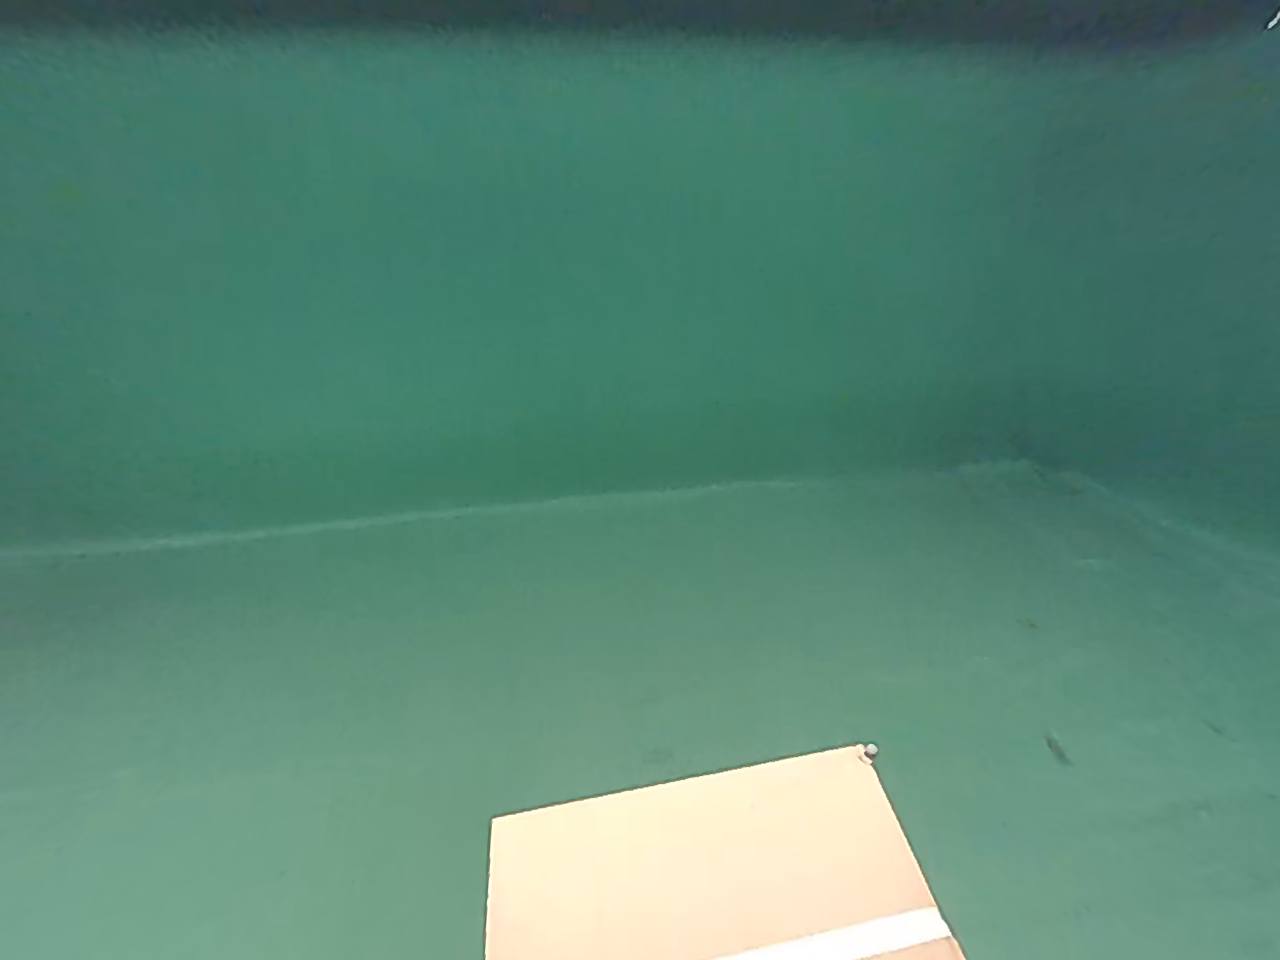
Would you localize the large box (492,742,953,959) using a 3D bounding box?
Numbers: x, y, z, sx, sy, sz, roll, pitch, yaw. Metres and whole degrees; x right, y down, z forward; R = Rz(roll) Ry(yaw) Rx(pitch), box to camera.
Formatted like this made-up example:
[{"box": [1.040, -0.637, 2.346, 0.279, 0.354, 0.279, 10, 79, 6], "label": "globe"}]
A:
[{"box": [0.076, 0.534, 0.569, 0.408, 0.320, 0.320, -9, 42, -5], "label": "large box"}]
